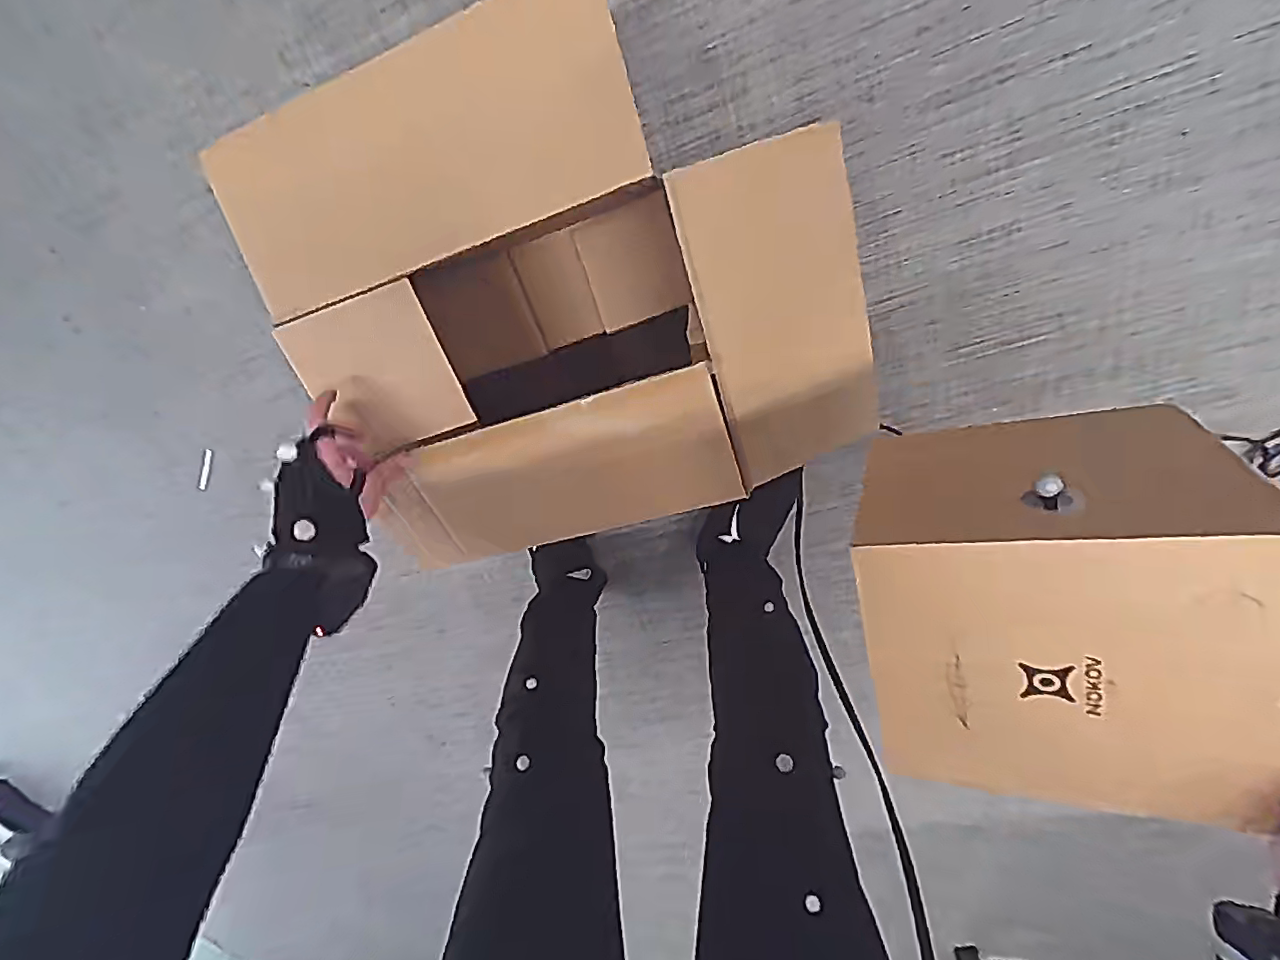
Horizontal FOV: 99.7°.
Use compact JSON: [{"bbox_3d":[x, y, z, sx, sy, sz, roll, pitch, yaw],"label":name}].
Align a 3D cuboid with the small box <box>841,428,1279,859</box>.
[{"bbox_3d":[0.231,0.074,0.330,0.179,0.176,0.168,-4,110,30],"label":"small box"}]
